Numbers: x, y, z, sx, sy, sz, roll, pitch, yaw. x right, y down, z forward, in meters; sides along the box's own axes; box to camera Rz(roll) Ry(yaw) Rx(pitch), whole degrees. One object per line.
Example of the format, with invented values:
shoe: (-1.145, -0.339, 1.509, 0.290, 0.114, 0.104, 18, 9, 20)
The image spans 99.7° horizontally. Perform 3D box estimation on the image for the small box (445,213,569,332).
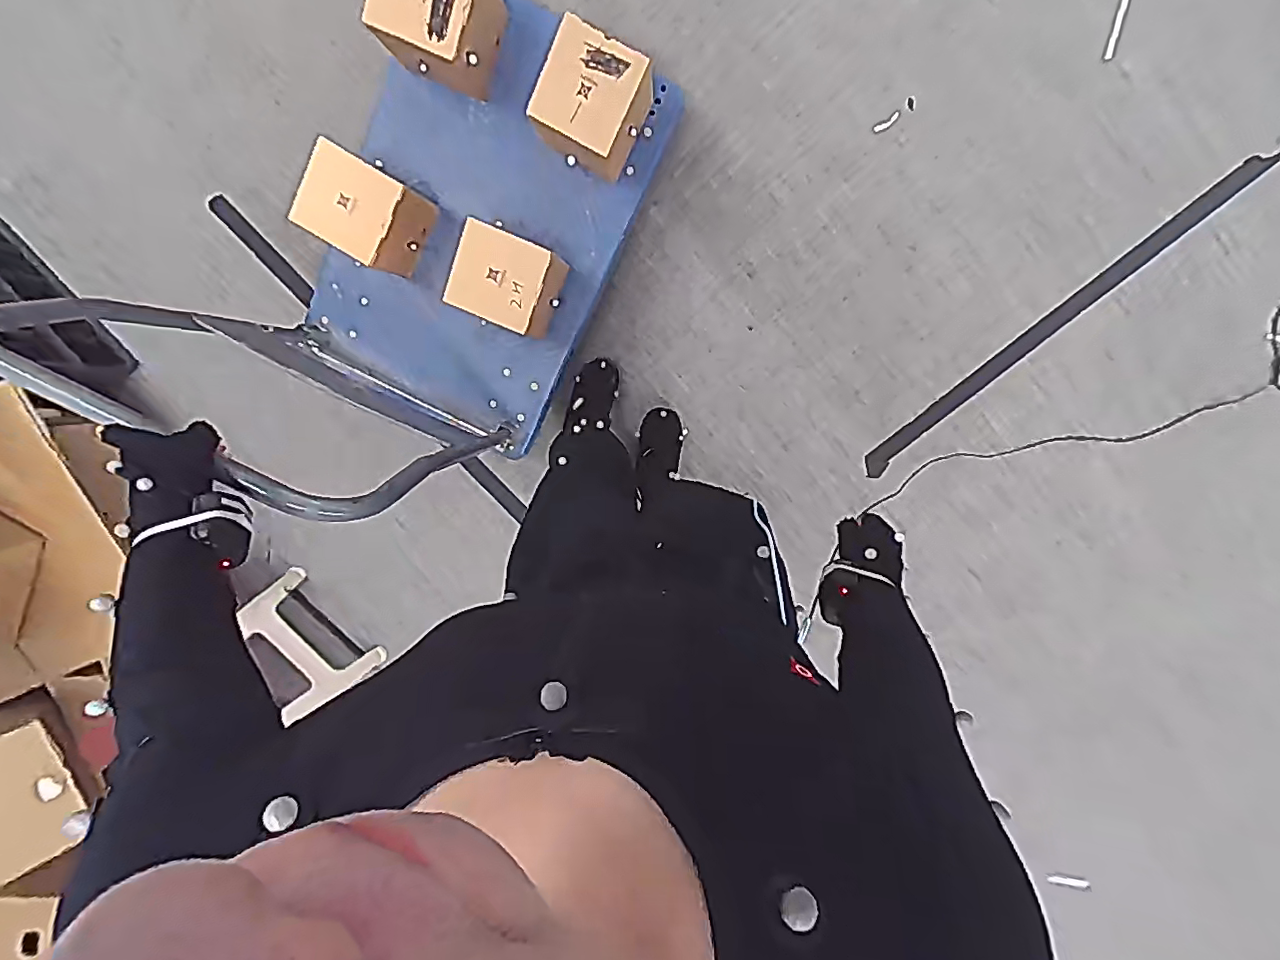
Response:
small box: (-0.263, -0.410, 1.104, 0.179, 0.176, 0.168, 23, 104, -3)

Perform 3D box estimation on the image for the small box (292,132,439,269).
small box: (-0.540, -0.544, 1.087, 0.179, 0.176, 0.168, 30, 103, -6)

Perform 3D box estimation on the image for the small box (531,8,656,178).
small box: (-0.082, -0.714, 1.022, 0.168, 0.176, 0.179, 27, 104, -4)
